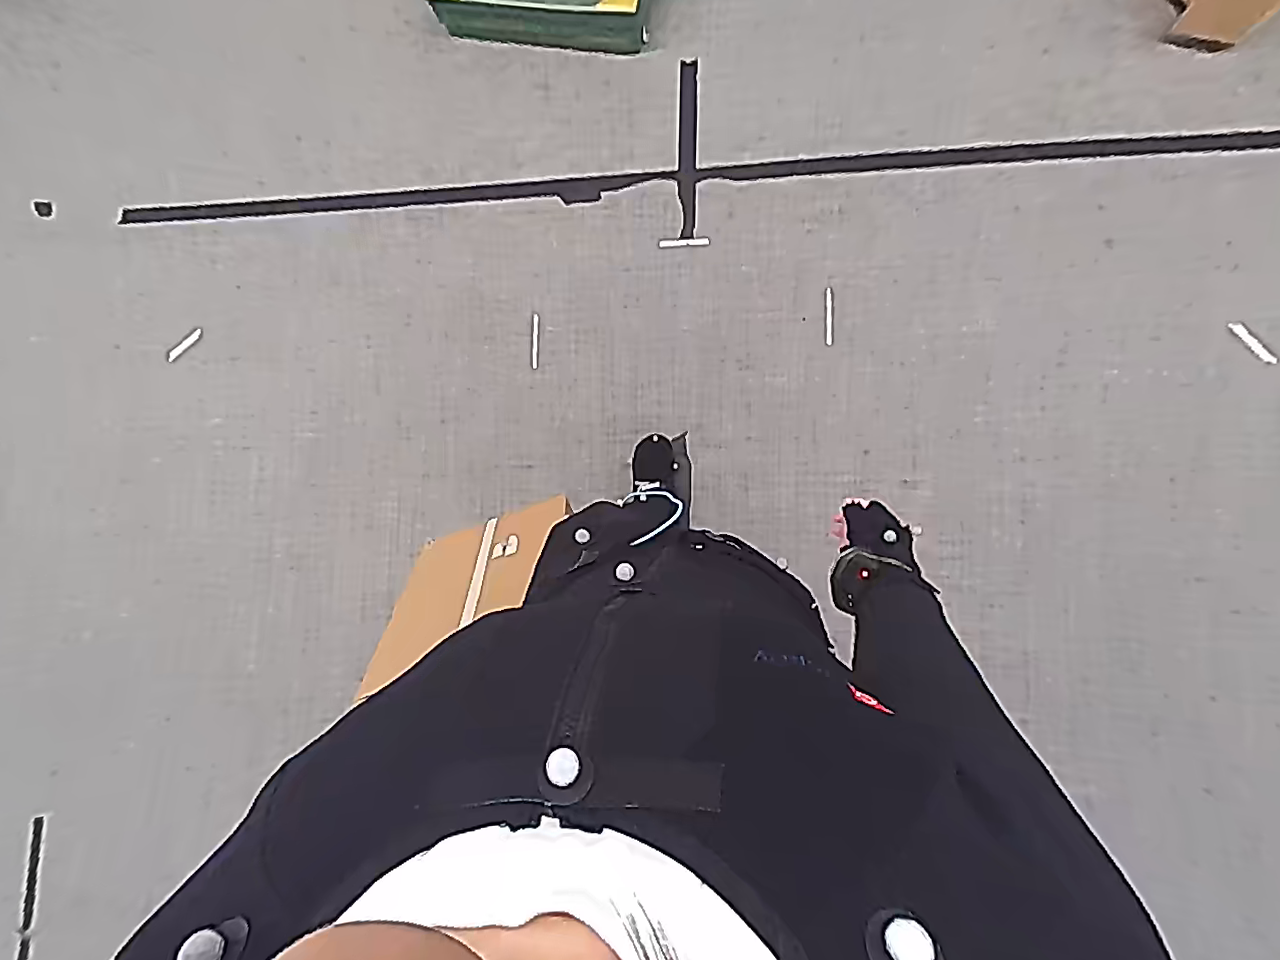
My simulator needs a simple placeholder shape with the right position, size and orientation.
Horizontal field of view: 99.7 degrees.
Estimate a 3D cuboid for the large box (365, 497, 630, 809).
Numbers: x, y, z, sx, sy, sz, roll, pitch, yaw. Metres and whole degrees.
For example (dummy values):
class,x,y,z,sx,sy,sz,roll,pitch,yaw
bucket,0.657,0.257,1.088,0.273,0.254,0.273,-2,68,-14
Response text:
class,x,y,z,sx,sy,sz,roll,pitch,yaw
large box,-0.223,0.295,1.003,0.320,0.408,0.320,-19,116,4
